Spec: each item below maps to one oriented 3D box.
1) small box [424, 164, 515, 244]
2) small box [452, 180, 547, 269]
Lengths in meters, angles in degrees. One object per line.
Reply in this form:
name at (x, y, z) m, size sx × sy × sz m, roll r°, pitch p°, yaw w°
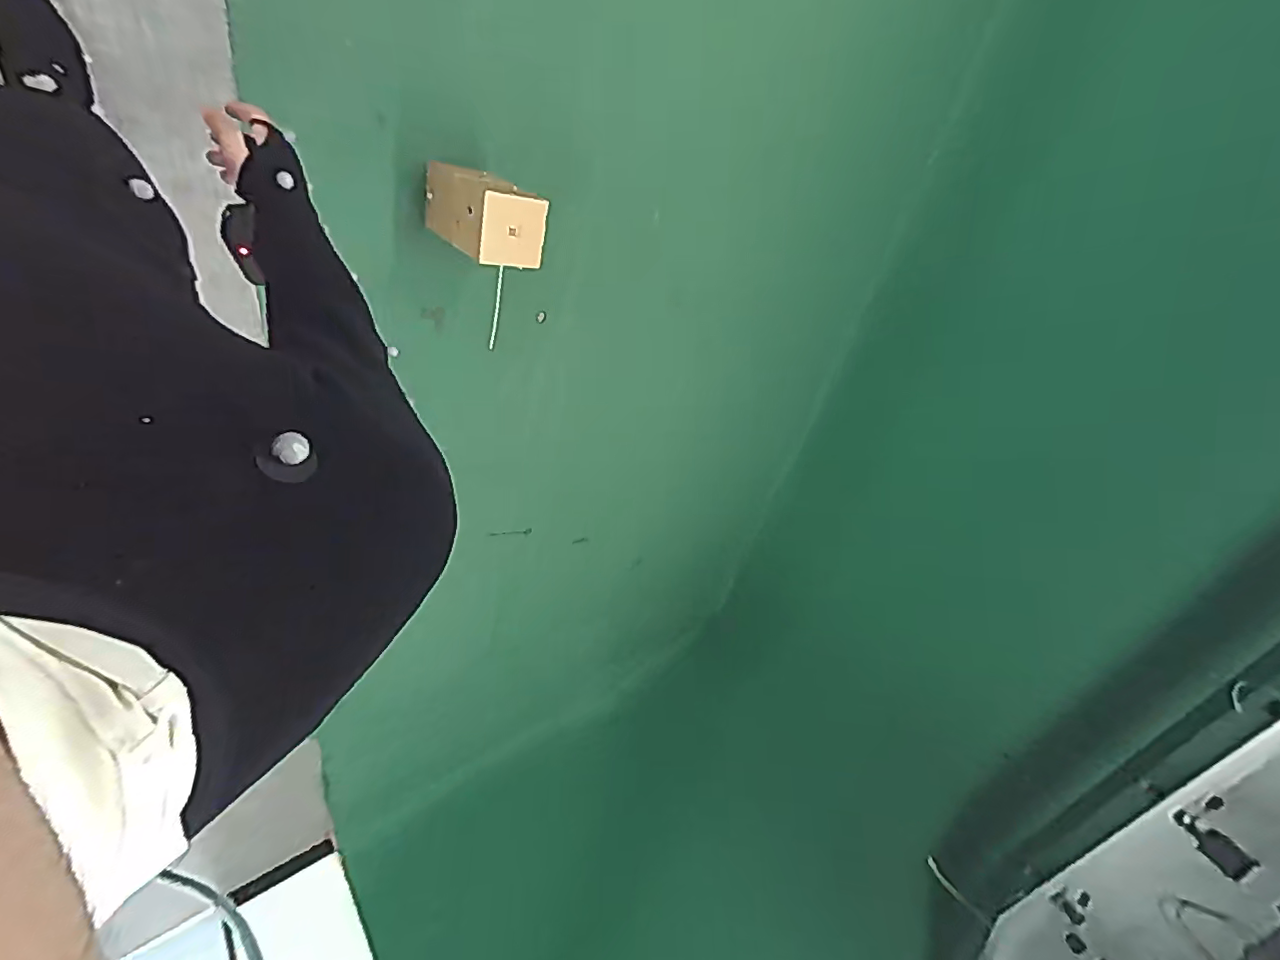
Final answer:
small box at (-0.464, -0.741, 1.469) m, size 0.179 × 0.176 × 0.168 m, roll -13°, pitch 131°, yaw -39°
small box at (-0.364, -0.652, 1.380) m, size 0.179 × 0.176 × 0.168 m, roll -15°, pitch 132°, yaw -41°
